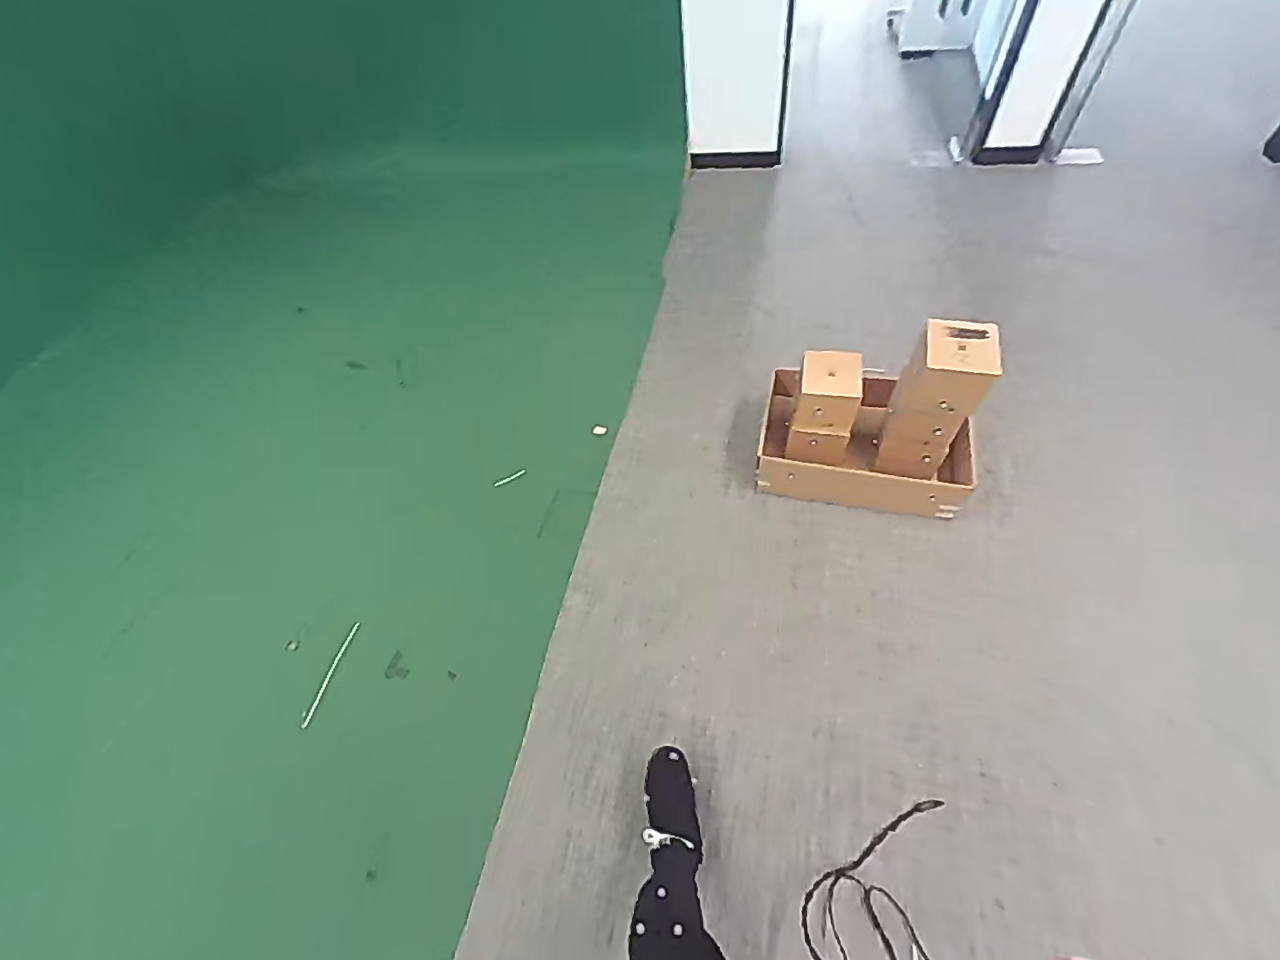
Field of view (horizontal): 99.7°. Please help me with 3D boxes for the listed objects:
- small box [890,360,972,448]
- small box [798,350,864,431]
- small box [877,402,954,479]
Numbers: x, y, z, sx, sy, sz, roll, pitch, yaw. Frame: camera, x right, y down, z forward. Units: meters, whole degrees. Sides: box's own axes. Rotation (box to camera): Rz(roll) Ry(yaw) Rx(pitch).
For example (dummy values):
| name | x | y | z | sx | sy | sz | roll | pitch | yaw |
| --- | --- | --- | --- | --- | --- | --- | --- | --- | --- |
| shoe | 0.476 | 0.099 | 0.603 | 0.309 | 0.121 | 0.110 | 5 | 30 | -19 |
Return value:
| name | x | y | z | sx | sy | sz | roll | pitch | yaw |
| --- | --- | --- | --- | --- | --- | --- | --- | --- | --- |
| small box | 0.830 | -0.214 | 1.551 | 0.168 | 0.176 | 0.179 | 12 | 60 | 16 |
| small box | 0.573 | -0.267 | 1.628 | 0.168 | 0.176 | 0.179 | 6 | 58 | 12 |
| small box | 0.855 | -0.123 | 1.683 | 0.179 | 0.176 | 0.168 | 11 | 59 | 17 |
